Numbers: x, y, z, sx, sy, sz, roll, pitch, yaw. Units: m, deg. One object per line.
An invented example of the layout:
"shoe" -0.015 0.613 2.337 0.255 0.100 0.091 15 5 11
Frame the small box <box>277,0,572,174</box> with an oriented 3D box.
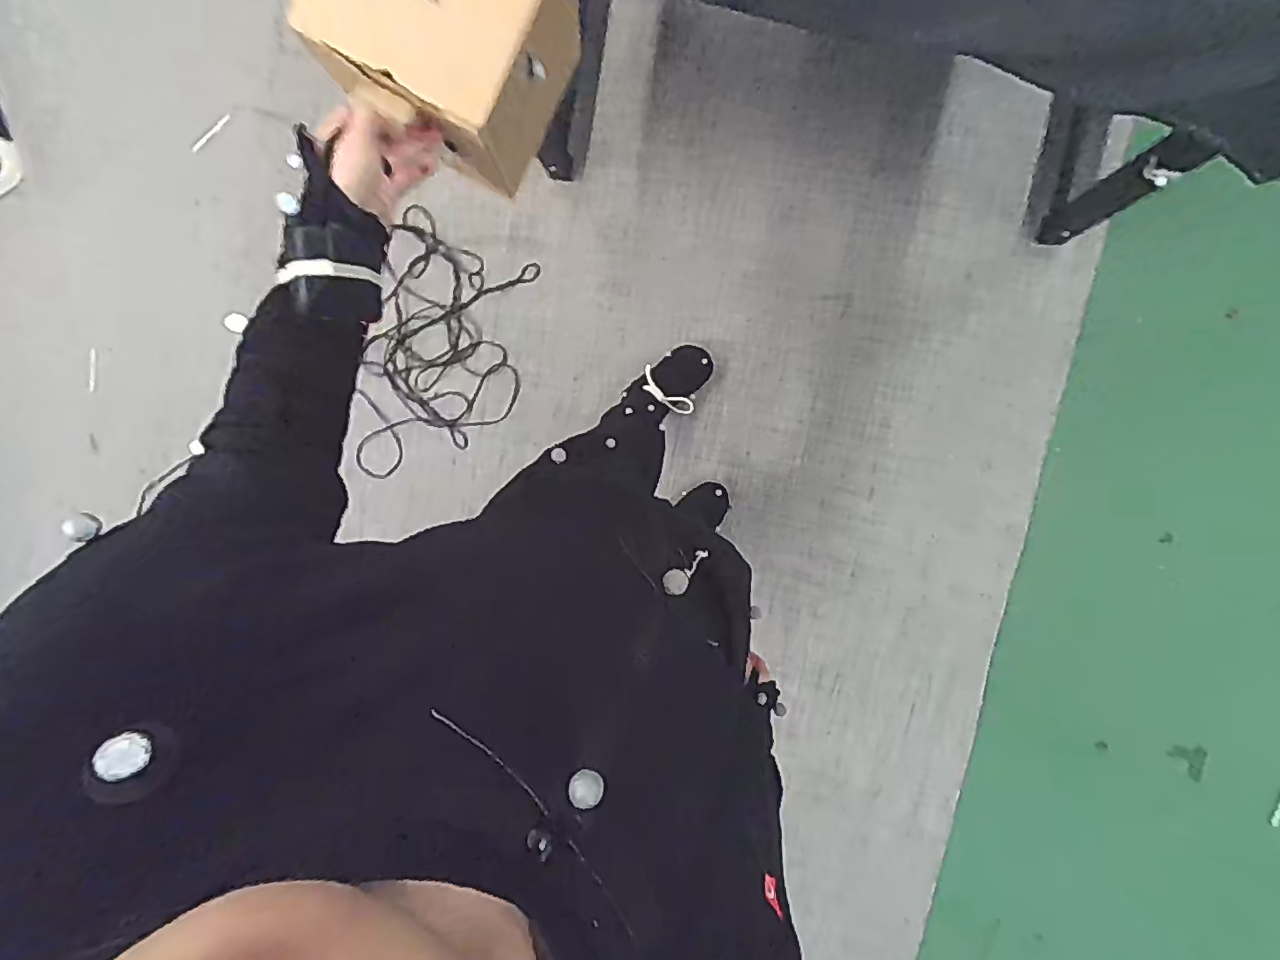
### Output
"small box" -0.168 -0.414 0.479 0.168 0.176 0.179 26 98 -8
